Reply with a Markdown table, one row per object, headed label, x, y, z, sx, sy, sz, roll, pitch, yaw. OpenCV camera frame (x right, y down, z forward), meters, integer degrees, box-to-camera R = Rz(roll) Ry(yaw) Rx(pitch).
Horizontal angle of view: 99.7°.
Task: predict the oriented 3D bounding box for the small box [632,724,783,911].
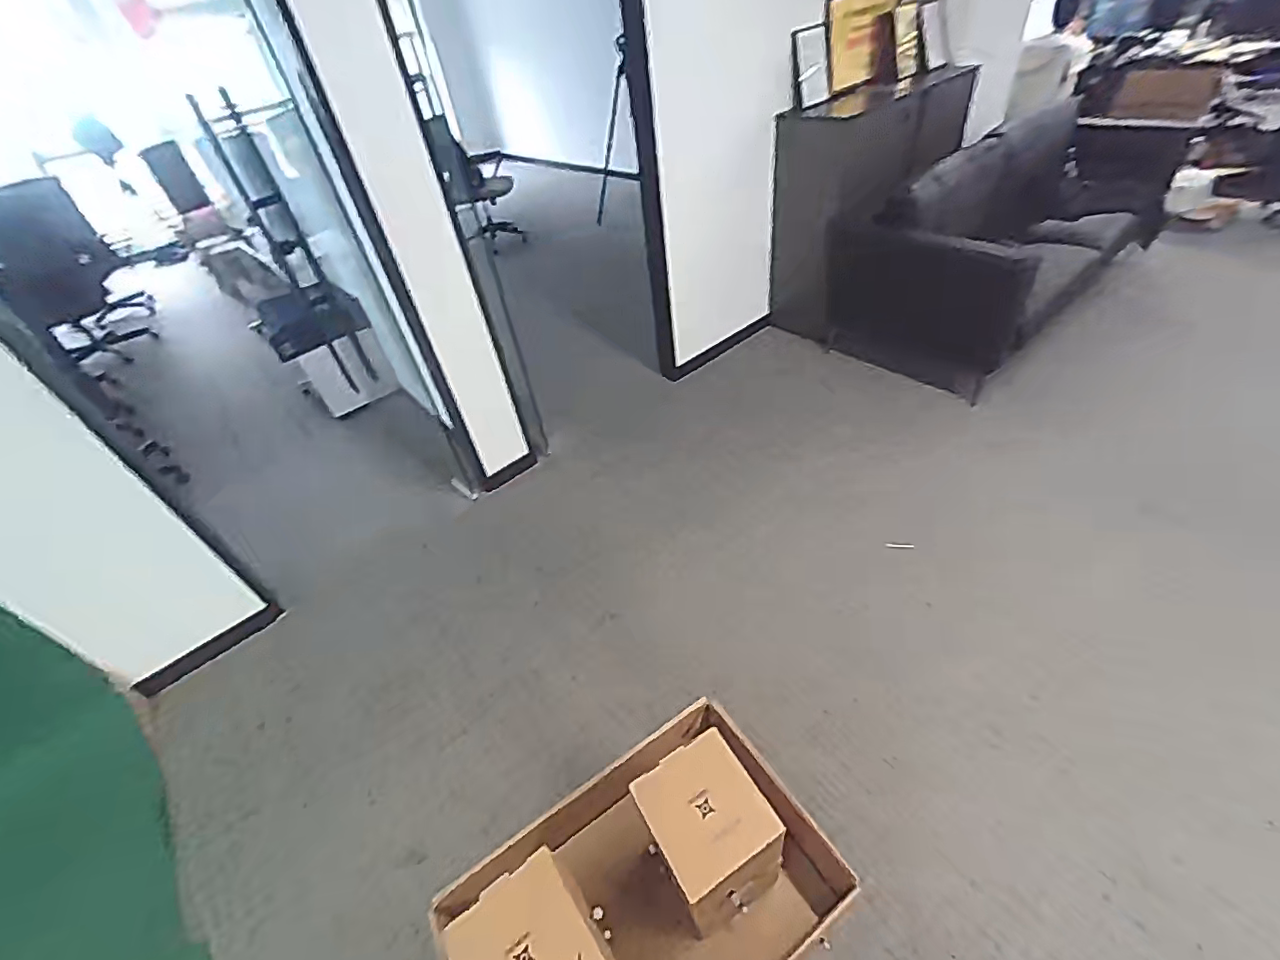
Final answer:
| label | x | y | z | sx | sy | sz | roll | pitch | yaw |
| --- | --- | --- | --- | --- | --- | --- | --- | --- | --- |
| small box | 0.106 | 0.538 | 0.863 | 0.168 | 0.176 | 0.179 | -27 | 45 | -16 |

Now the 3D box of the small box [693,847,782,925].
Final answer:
| label | x | y | z | sx | sy | sz | roll | pitch | yaw |
| --- | --- | --- | --- | --- | --- | --- | --- | --- | --- |
| small box | 0.134 | 0.653 | 0.976 | 0.168 | 0.176 | 0.179 | -27 | 46 | -15 |

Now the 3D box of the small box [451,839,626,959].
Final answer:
| label | x | y | z | sx | sy | sz | roll | pitch | yaw |
| --- | --- | --- | --- | --- | --- | --- | --- | --- | --- |
| small box | -0.138 | 0.670 | 0.774 | 0.168 | 0.176 | 0.179 | -32 | 47 | -20 |
